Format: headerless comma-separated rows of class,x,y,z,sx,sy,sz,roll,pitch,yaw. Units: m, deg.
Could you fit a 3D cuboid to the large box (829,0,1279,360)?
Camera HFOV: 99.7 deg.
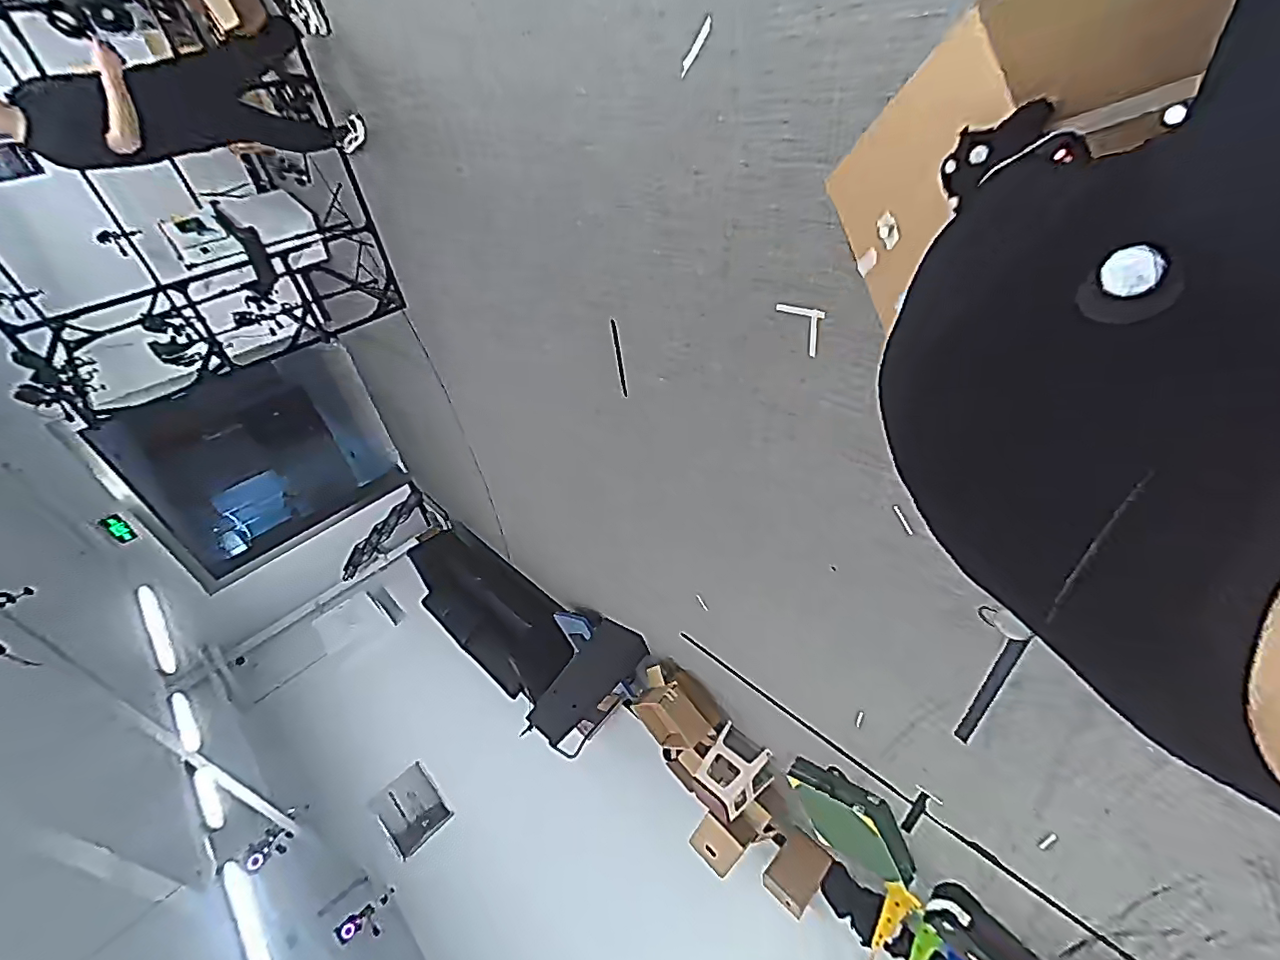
large box,0.561,-0.410,0.765,0.320,0.408,0.320,175,74,-77
